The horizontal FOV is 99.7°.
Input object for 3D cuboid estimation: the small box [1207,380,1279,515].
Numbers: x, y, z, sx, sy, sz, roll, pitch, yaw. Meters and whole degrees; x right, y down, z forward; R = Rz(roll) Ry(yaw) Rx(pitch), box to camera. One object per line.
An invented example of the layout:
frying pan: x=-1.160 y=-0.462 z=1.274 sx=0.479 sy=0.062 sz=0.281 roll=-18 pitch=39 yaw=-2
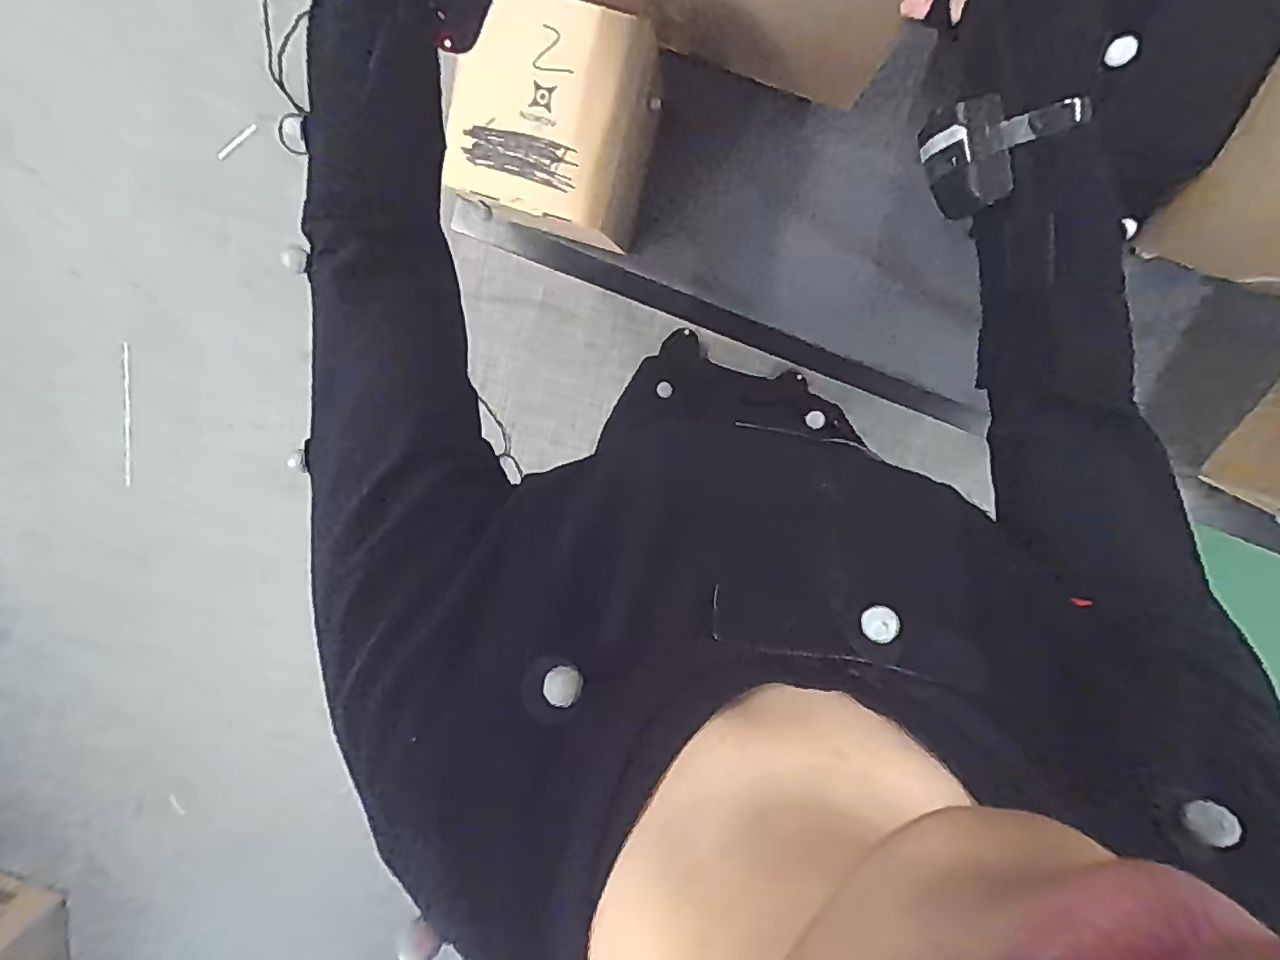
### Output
small box: x=0.771 y=-0.024 z=0.553 sx=0.168 sy=0.176 sz=0.179 roll=27 pitch=110 yaw=1
